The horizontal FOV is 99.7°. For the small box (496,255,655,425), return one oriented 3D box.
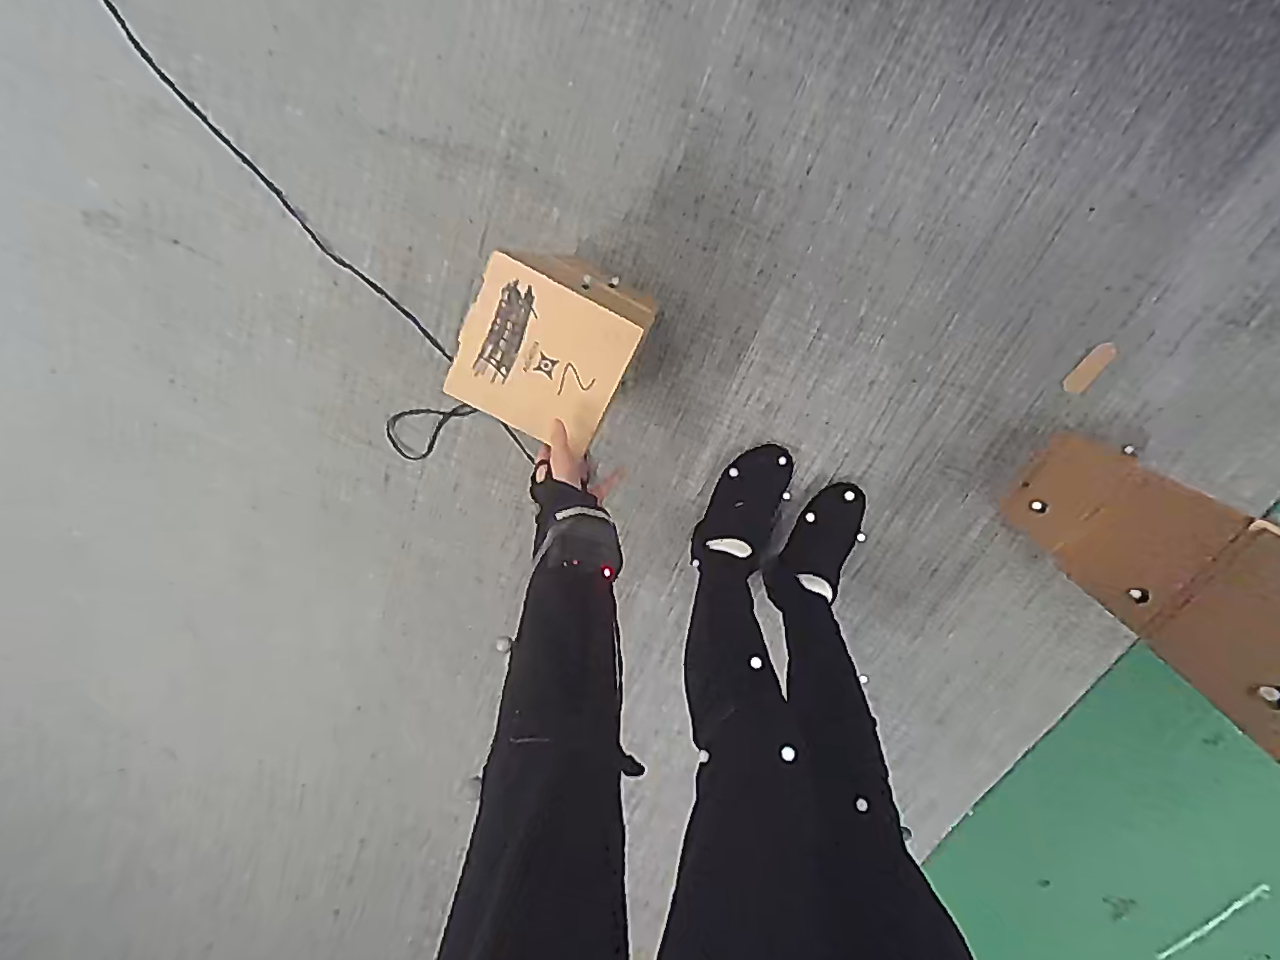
[{"bbox_3d":[-0.086,-0.213,0.807,0.168,0.176,0.179,27,112,-5],"label":"small box"}]

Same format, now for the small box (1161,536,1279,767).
[{"bbox_3d":[0.691,0.188,0.537,0.168,0.176,0.179,23,113,-4],"label":"small box"}]

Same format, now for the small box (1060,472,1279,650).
[{"bbox_3d":[0.697,0.113,0.684,0.168,0.176,0.179,22,113,-4],"label":"small box"}]

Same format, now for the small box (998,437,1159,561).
[{"bbox_3d":[0.707,0.050,0.833,0.179,0.176,0.168,25,112,-5],"label":"small box"}]
